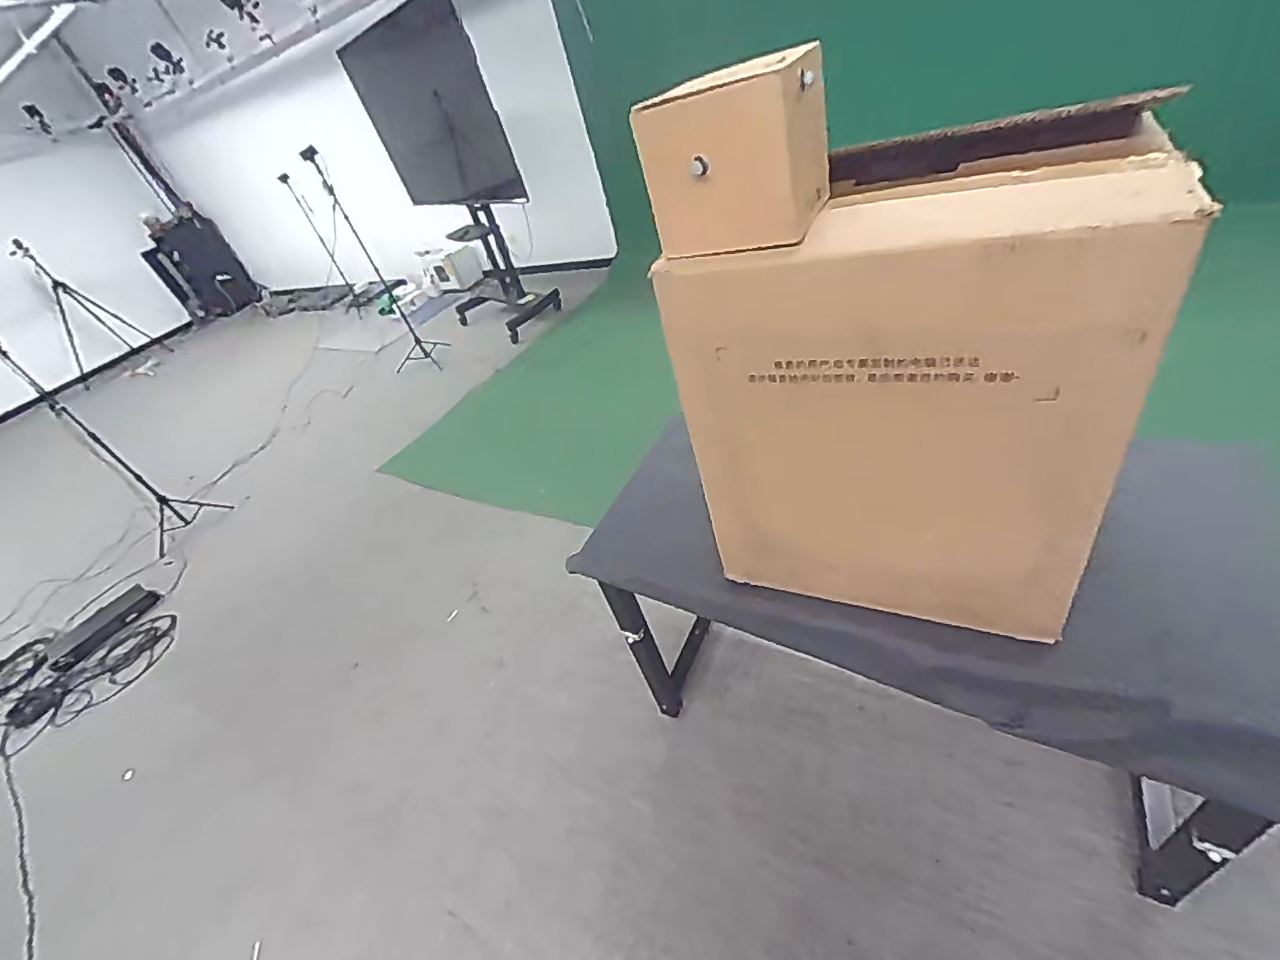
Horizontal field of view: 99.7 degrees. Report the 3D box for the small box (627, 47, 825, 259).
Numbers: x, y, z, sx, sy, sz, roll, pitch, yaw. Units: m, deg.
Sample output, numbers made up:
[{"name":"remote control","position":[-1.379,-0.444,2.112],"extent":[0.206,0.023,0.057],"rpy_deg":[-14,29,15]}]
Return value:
[{"name":"small box","position":[0.116,-0.390,0.666],"extent":[0.179,0.176,0.168],"rpy_deg":[5,45,31]}]
